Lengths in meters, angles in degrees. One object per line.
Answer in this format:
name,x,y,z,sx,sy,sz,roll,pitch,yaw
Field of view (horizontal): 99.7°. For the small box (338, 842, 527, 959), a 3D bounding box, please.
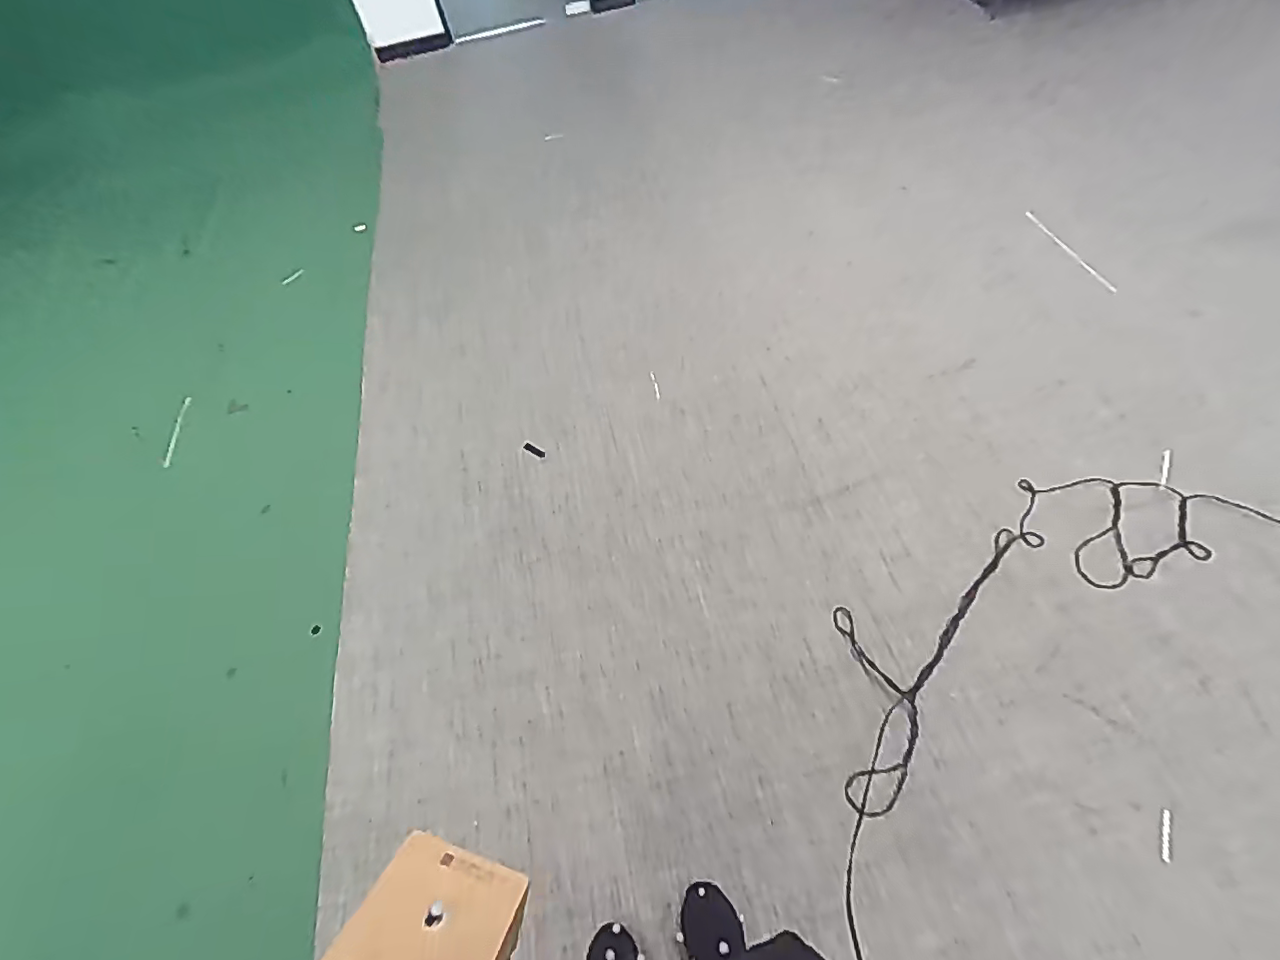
small box,-0.244,0.570,0.627,0.168,0.179,0.176,15,21,7
